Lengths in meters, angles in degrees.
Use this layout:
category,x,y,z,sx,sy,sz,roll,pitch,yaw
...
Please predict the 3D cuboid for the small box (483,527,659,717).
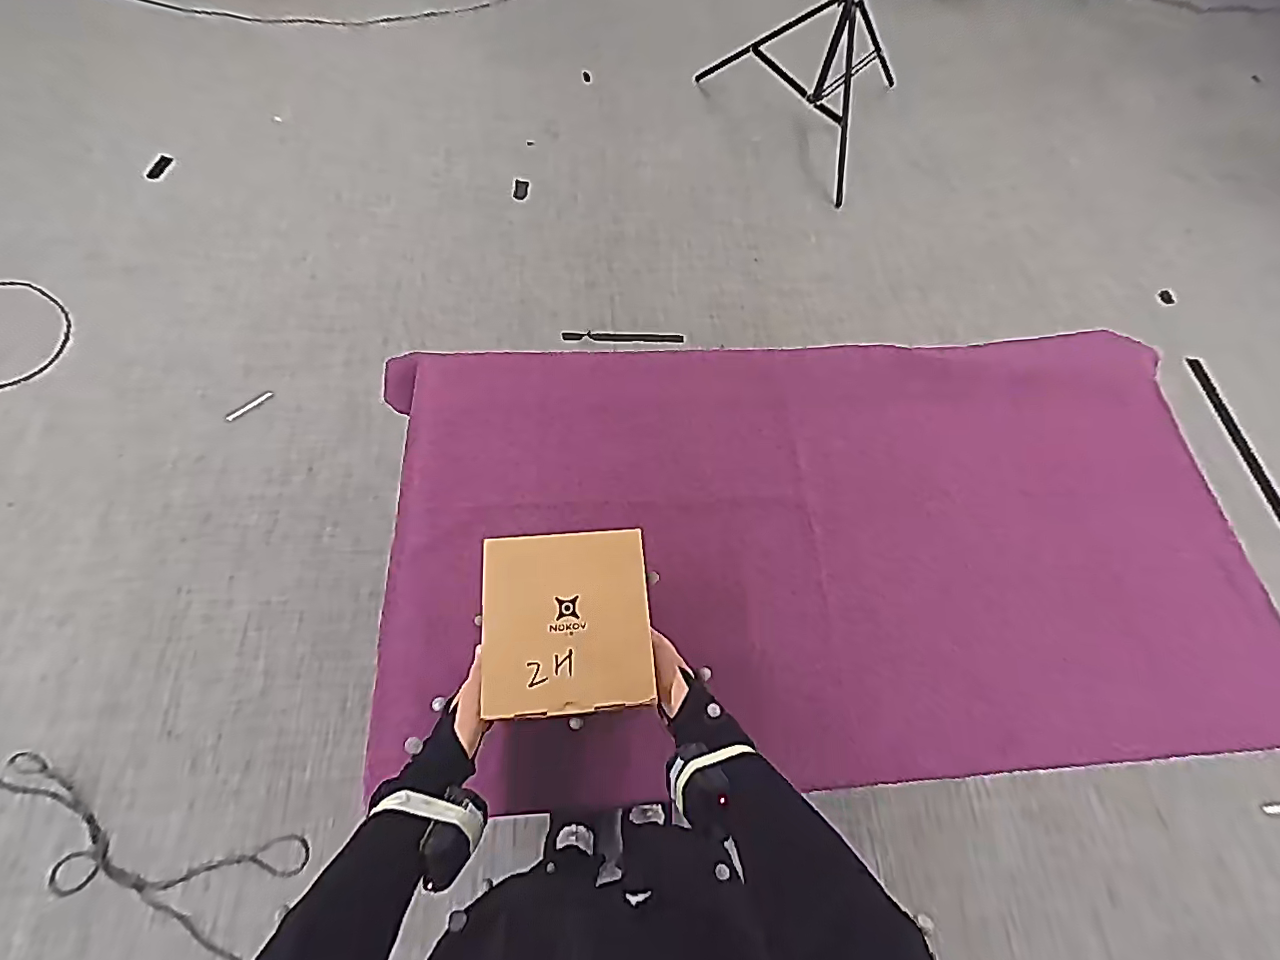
category,x,y,z,sx,sy,sz,roll,pitch,yaw
small box,-0.075,0.165,0.607,0.168,0.176,0.179,-4,67,-5
